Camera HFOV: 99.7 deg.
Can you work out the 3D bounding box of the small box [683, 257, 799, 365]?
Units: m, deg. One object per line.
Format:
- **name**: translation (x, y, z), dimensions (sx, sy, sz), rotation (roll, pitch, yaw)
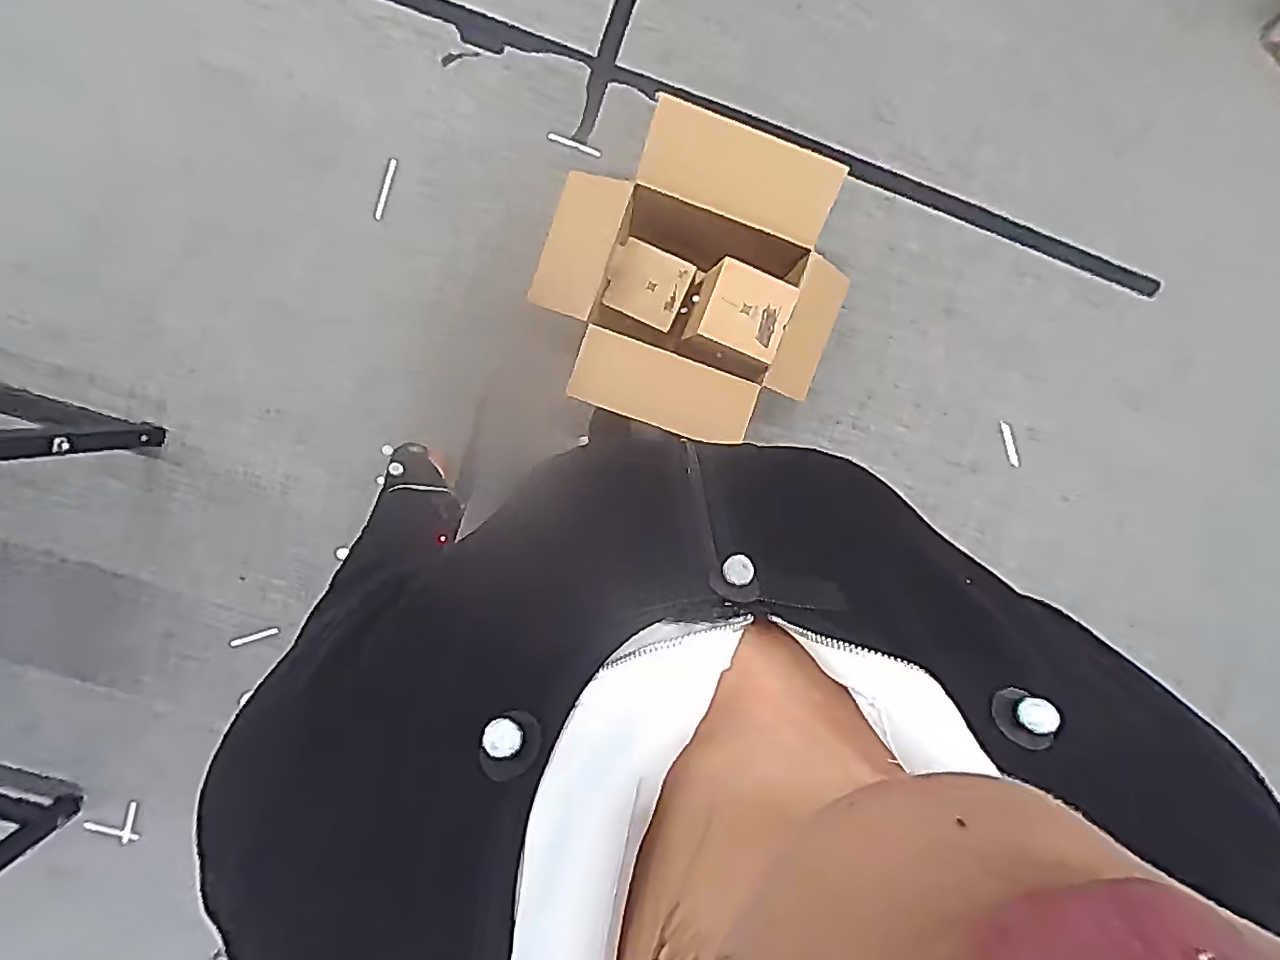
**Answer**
- **small box**: translation (0.213, -0.361, 1.191), dimensions (0.179, 0.176, 0.168), rotation (21, 96, -8)
